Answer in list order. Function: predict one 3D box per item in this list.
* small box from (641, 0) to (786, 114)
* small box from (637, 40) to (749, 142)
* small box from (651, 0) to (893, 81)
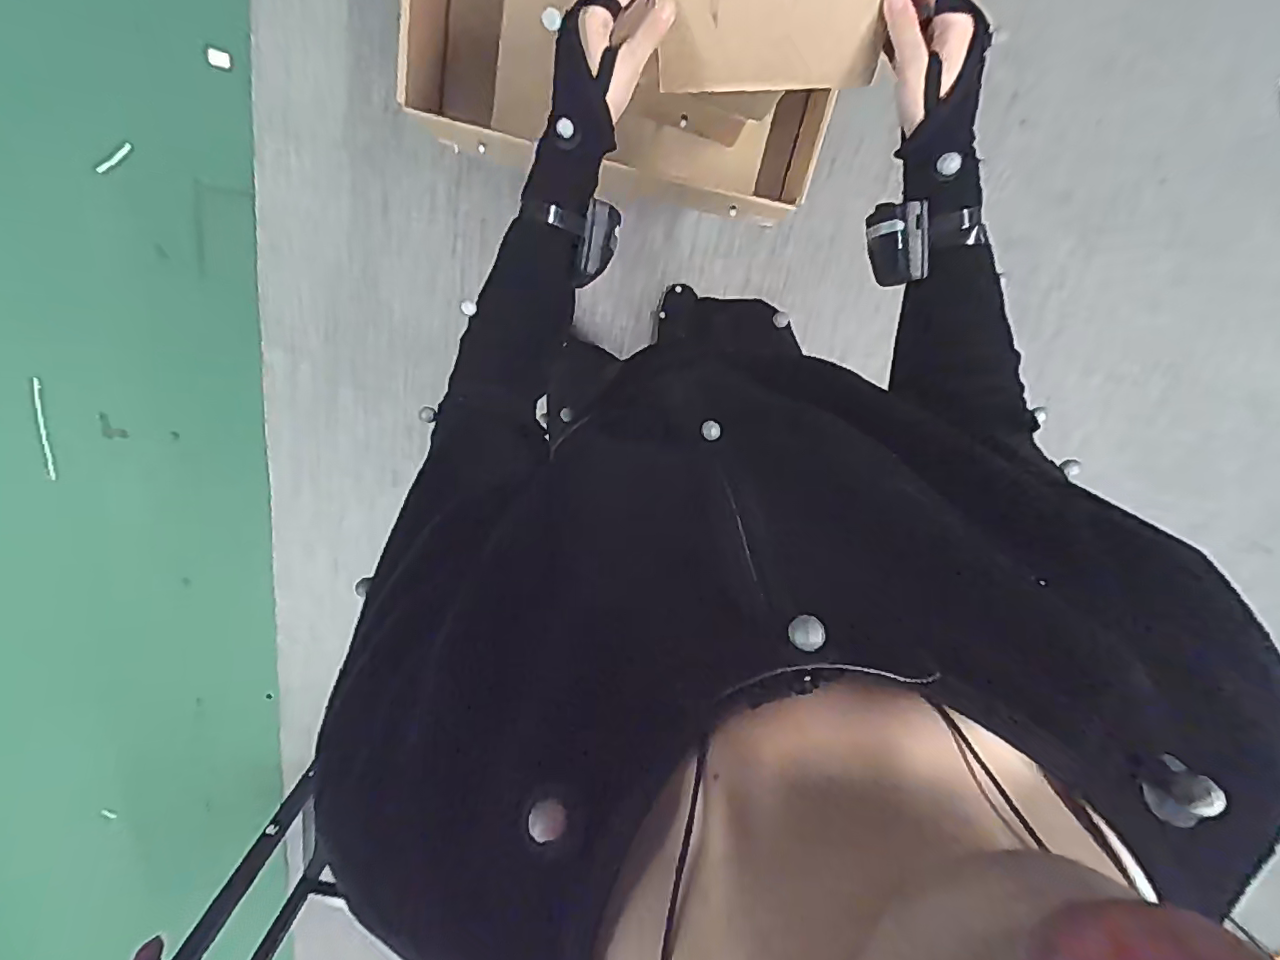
[{"bbox_3d":[0.108,-0.561,0.631,0.179,0.176,0.168,16,110,-4],"label":"small box"},{"bbox_3d":[0.103,-0.623,0.784,0.168,0.176,0.179,17,110,-4],"label":"small box"},{"bbox_3d":[0.097,-0.432,0.397,0.179,0.168,0.176,2,65,5],"label":"small box"}]
